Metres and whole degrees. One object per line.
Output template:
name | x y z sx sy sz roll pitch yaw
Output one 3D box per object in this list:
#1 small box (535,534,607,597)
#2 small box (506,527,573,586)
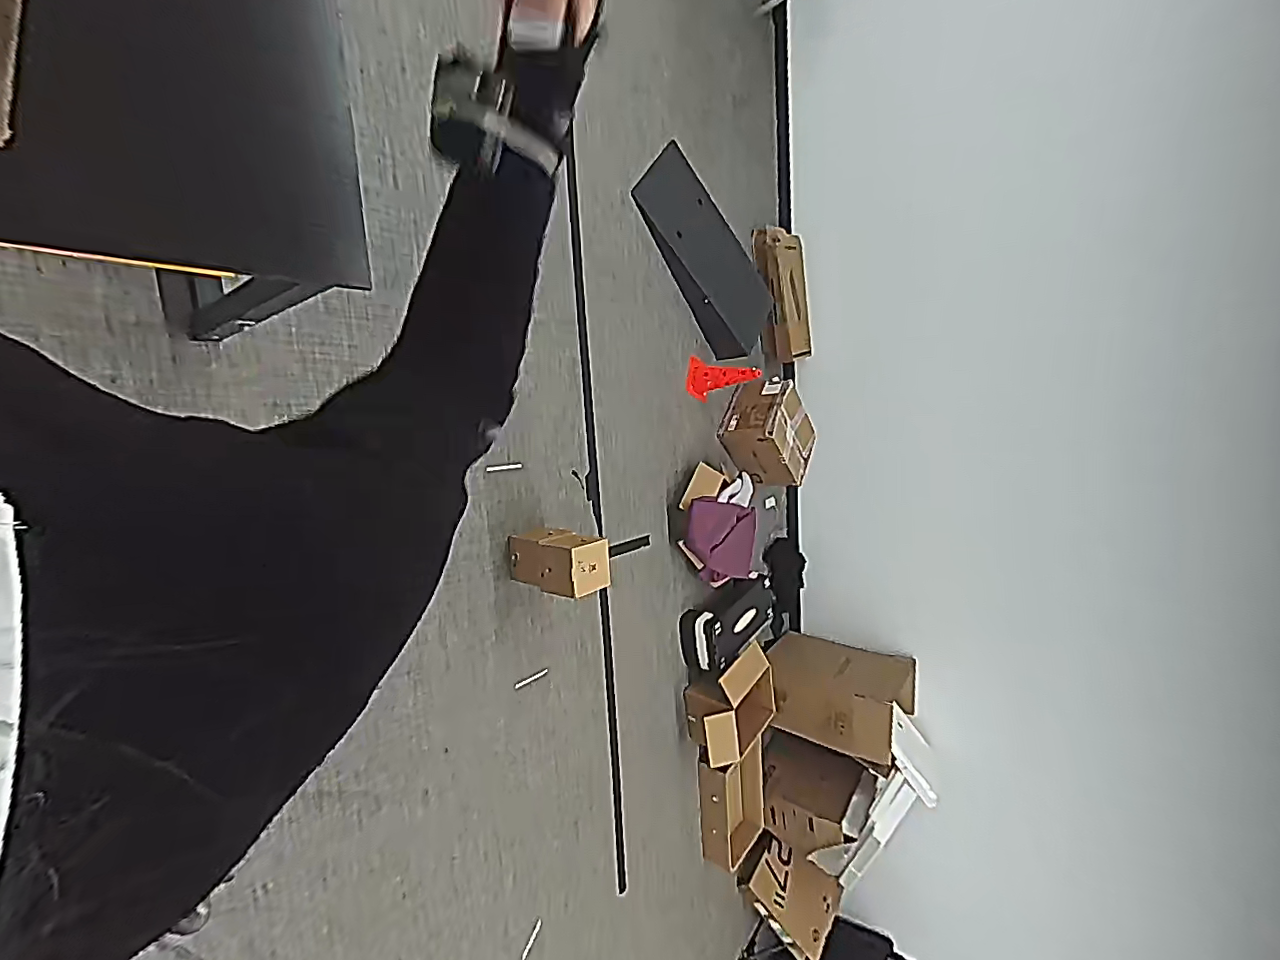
small box | -0.231 0.282 1.825 0.179 0.176 0.168 -10 99 -51
small box | -0.356 0.268 1.933 0.179 0.176 0.168 -11 100 -50
